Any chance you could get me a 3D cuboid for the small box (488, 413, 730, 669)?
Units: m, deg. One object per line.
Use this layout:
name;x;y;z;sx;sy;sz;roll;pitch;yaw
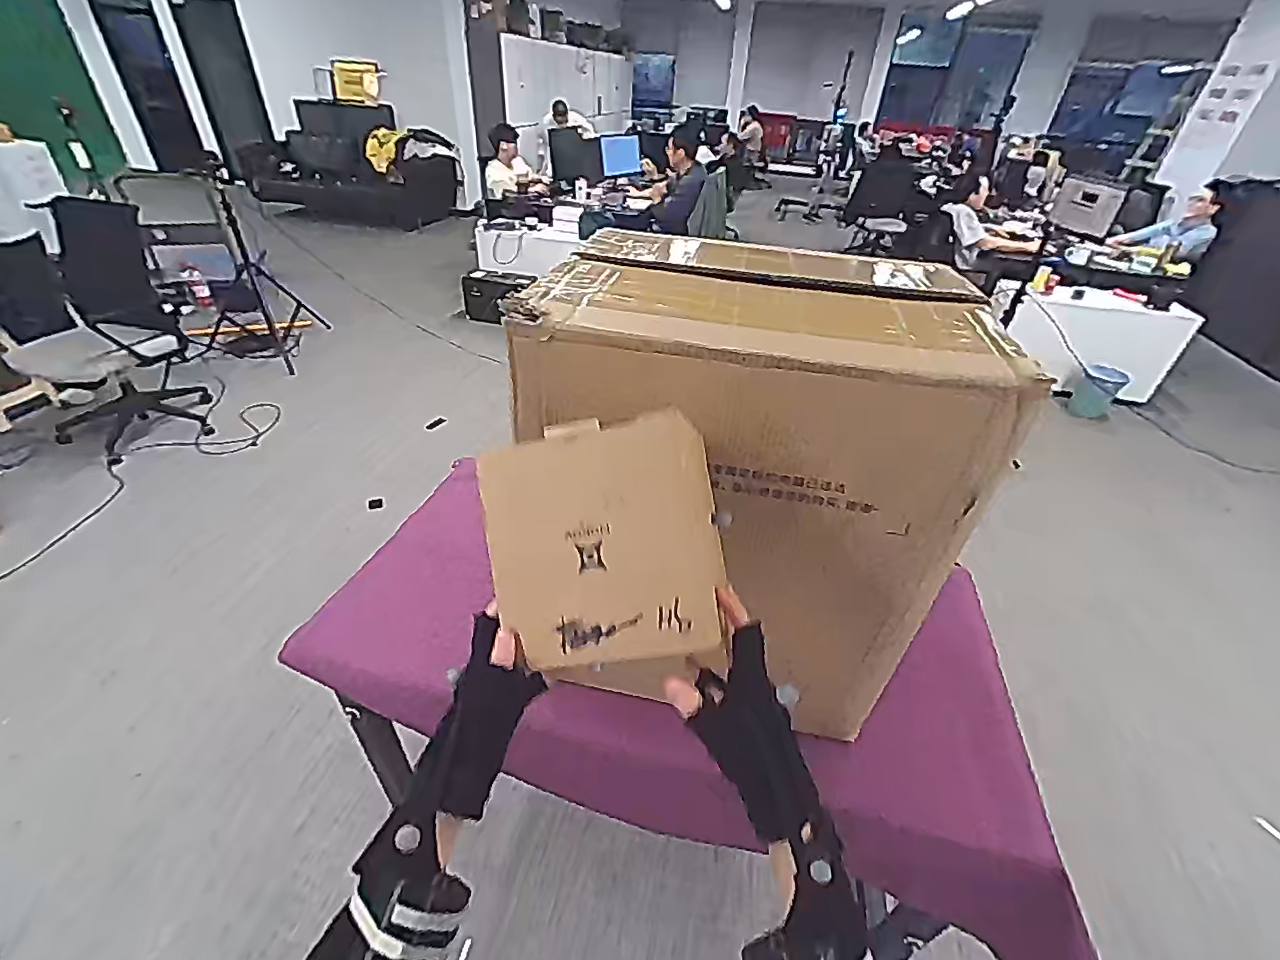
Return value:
small box;-0.016;0.054;0.486;0.168;0.179;0.176;-10;-6;12
